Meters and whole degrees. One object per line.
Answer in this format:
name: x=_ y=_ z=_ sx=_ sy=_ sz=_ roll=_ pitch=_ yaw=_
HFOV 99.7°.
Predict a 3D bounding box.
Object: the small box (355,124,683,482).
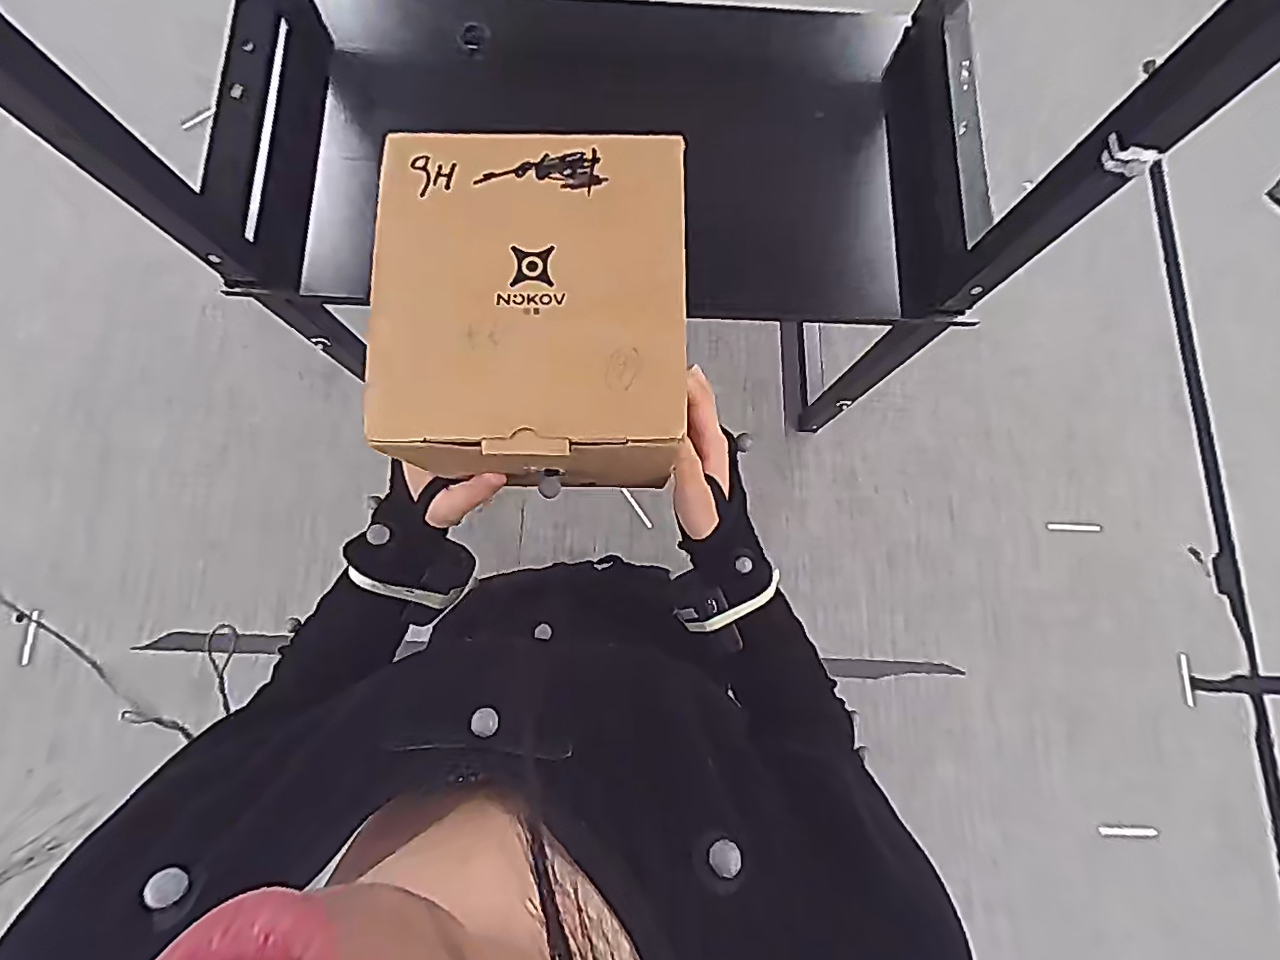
small box: x=-0.061 y=-0.091 z=0.354 sx=0.168 sy=0.176 sz=0.179 roll=0 pitch=83 yaw=-2
